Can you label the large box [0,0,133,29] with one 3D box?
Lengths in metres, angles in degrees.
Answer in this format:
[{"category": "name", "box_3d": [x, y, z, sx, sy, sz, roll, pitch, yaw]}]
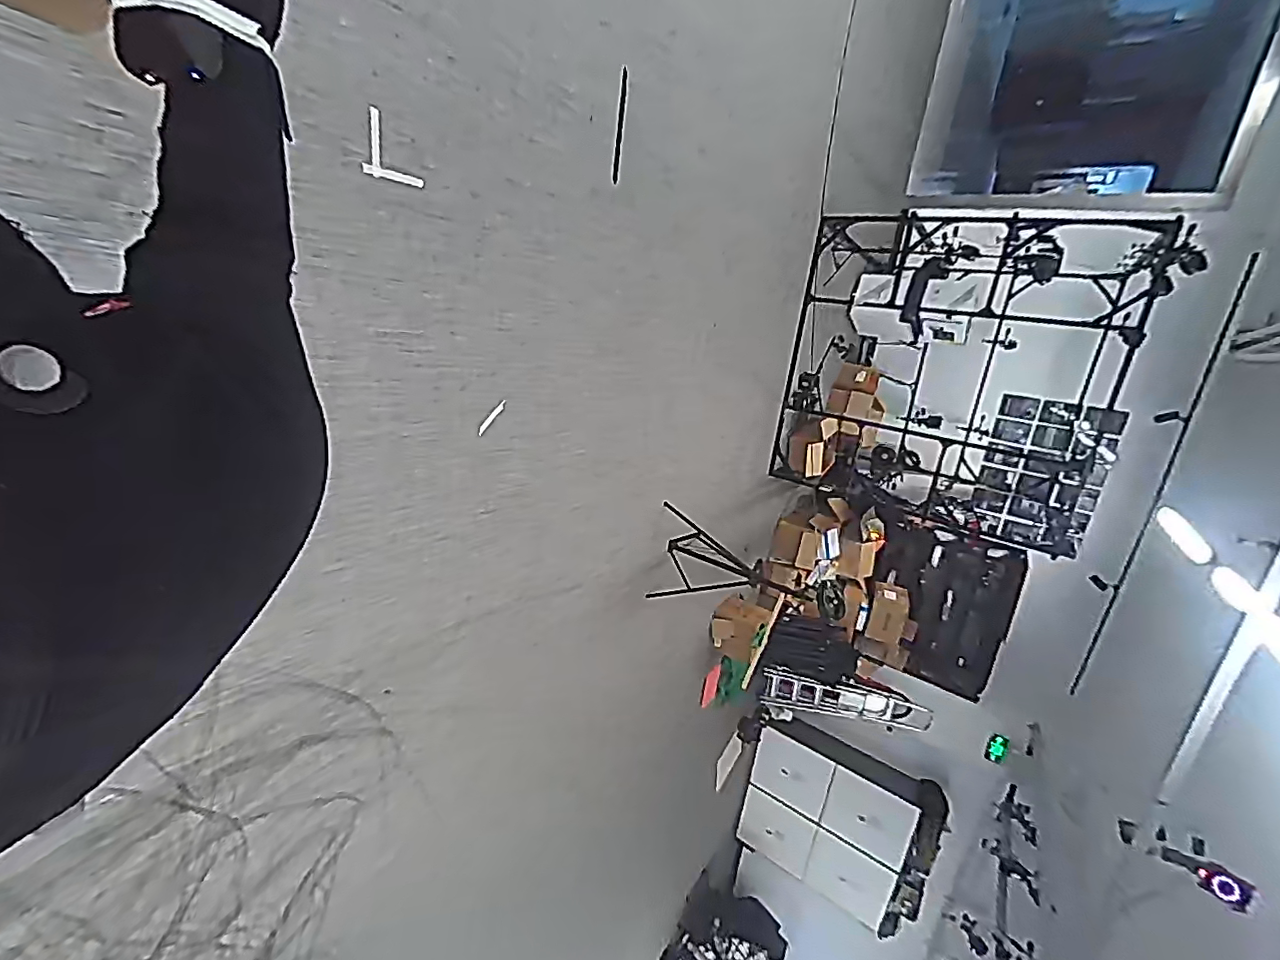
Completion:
[{"category": "large box", "box_3d": [-0.517, -0.514, 0.253, 0.408, 0.320, 0.320, -8, 117, -54]}]
